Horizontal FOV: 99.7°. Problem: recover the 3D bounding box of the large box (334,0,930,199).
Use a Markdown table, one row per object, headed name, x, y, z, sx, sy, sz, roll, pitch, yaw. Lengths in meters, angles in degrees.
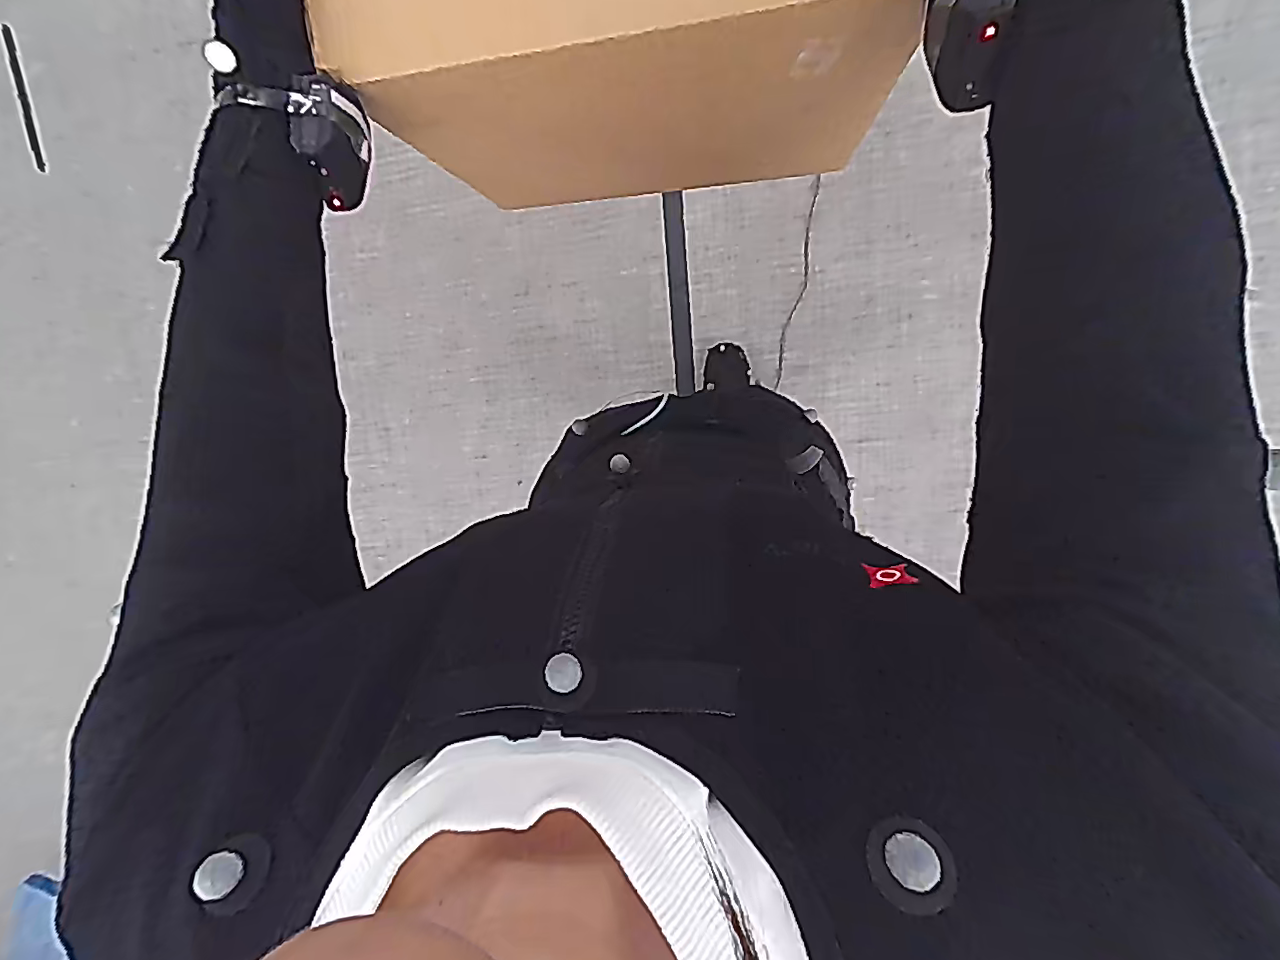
| name | x | y | z | sx | sy | sz | roll | pitch | yaw |
| --- | --- | --- | --- | --- | --- | --- | --- | --- | --- |
| large box | 0.000 | -0.470 | 0.457 | 0.408 | 0.320 | 0.320 | -3 | 102 | 9 |
